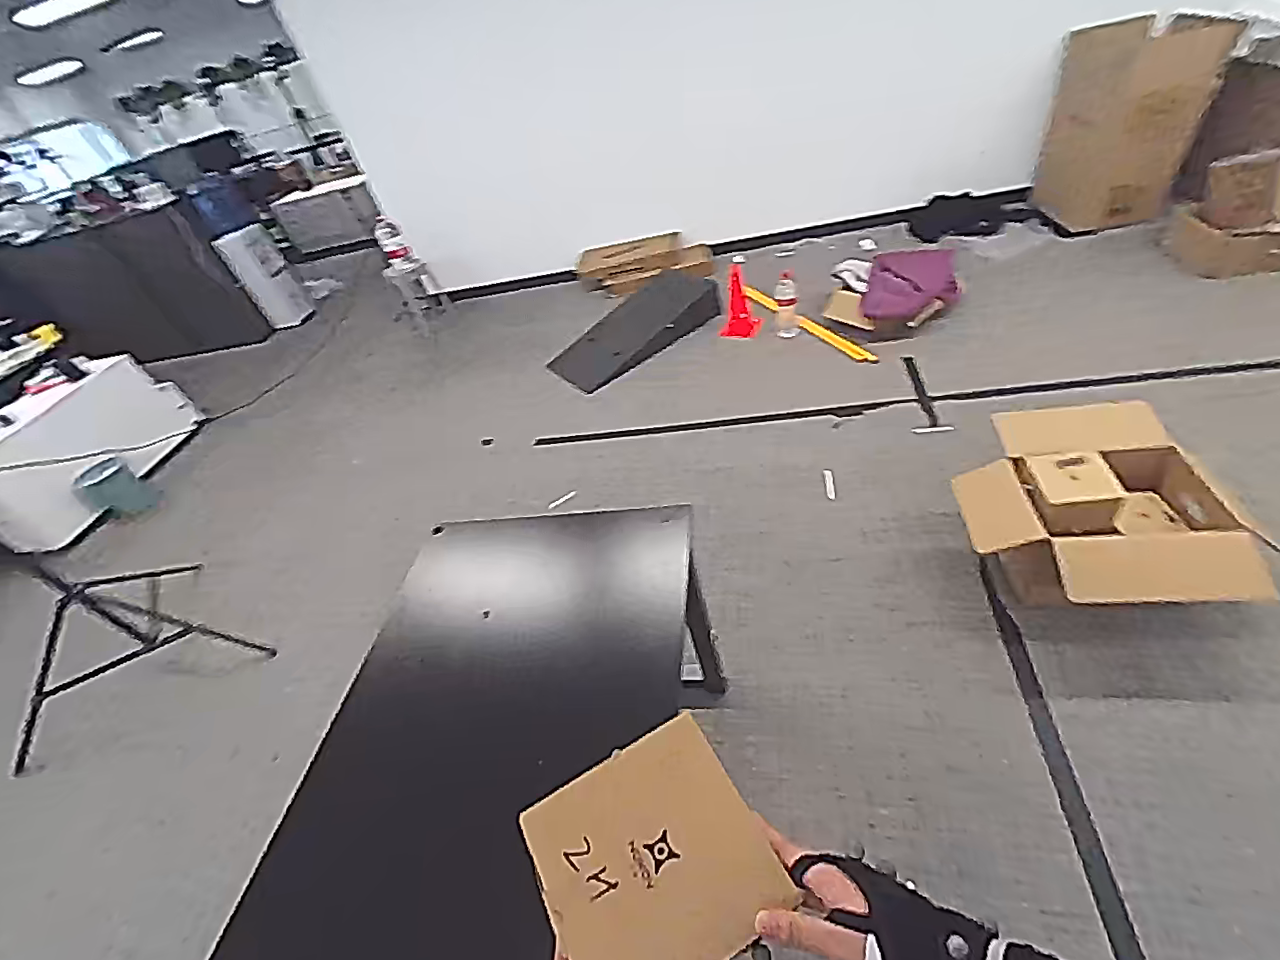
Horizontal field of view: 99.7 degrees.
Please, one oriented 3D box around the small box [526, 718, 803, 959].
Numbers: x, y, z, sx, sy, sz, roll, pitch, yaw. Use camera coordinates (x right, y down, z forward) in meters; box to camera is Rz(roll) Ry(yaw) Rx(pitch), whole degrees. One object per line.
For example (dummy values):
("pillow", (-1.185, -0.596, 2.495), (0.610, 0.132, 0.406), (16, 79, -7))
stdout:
("small box", (0.020, 0.359, 0.498), (0.179, 0.176, 0.168), (-25, 50, -14))
